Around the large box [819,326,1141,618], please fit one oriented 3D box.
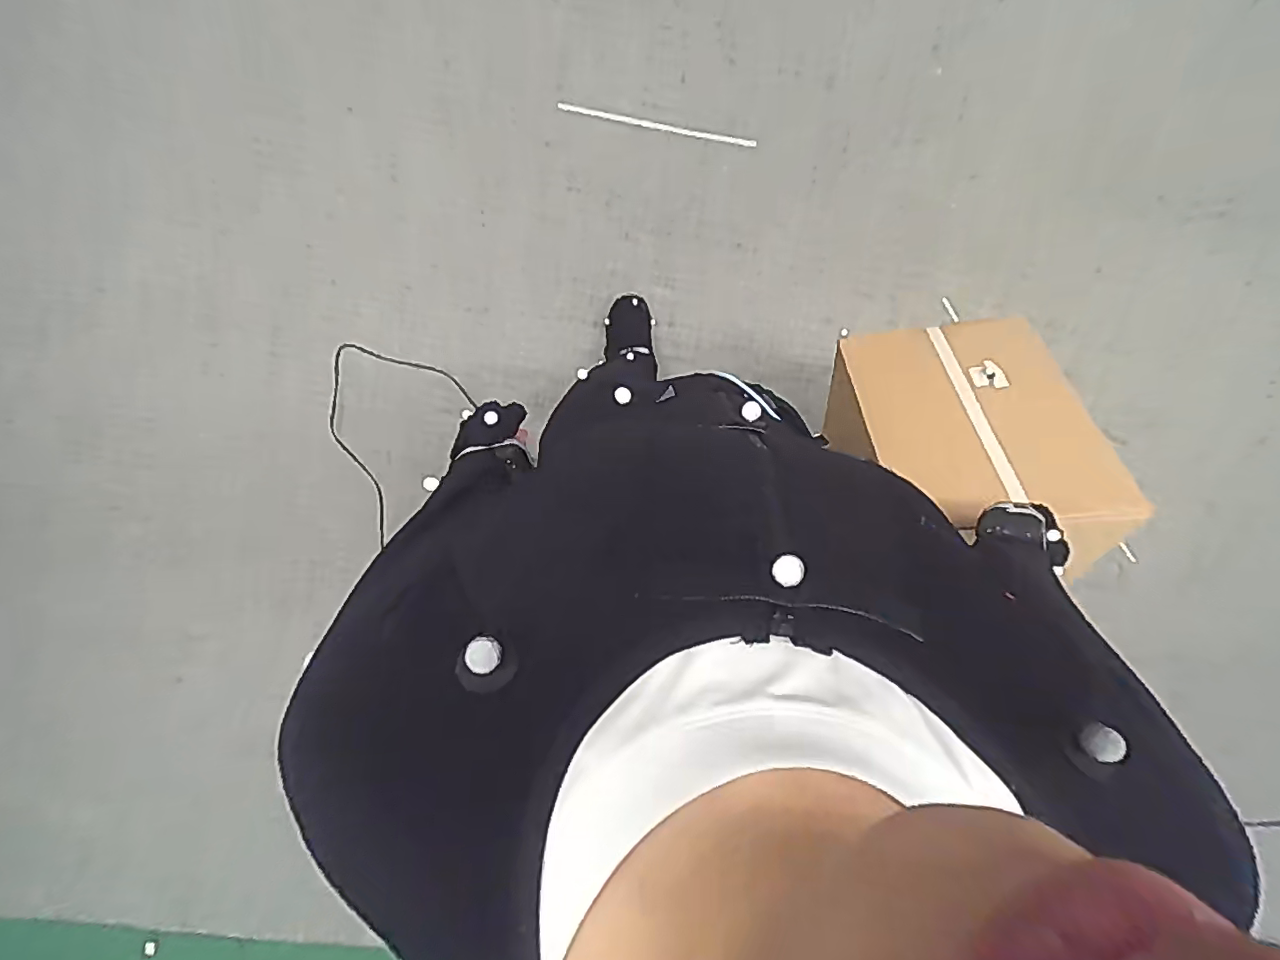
[{"bbox_3d":[0.530,-0.011,0.961,0.320,0.408,0.320,-5,142,6],"label":"large box"}]
